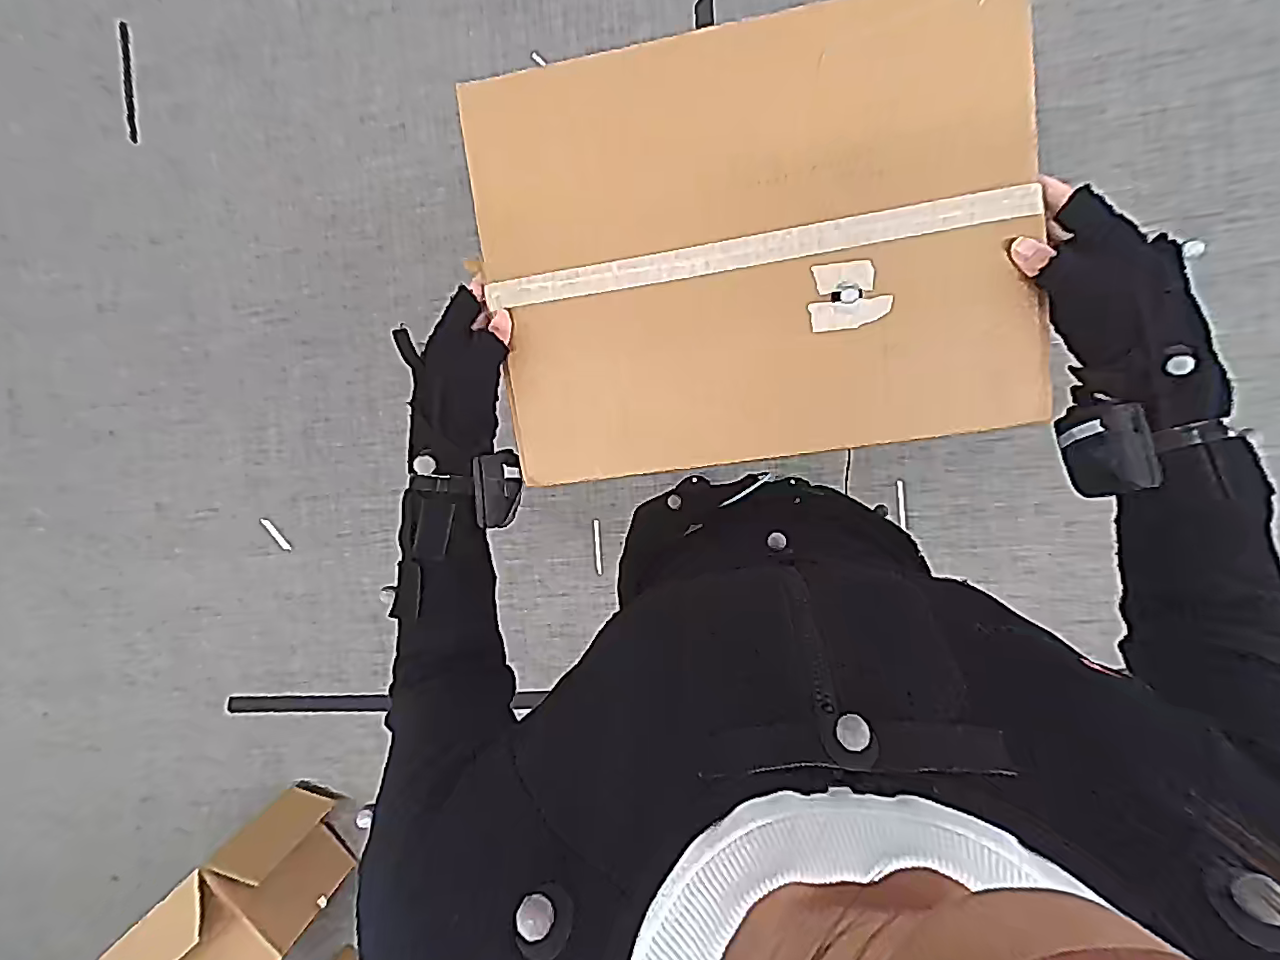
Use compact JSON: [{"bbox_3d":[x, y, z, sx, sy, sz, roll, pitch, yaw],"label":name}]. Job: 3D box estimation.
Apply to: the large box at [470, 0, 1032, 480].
[{"bbox_3d":[0.095,-0.196,0.564,0.408,0.320,0.320,-8,98,6],"label":"large box"}]
